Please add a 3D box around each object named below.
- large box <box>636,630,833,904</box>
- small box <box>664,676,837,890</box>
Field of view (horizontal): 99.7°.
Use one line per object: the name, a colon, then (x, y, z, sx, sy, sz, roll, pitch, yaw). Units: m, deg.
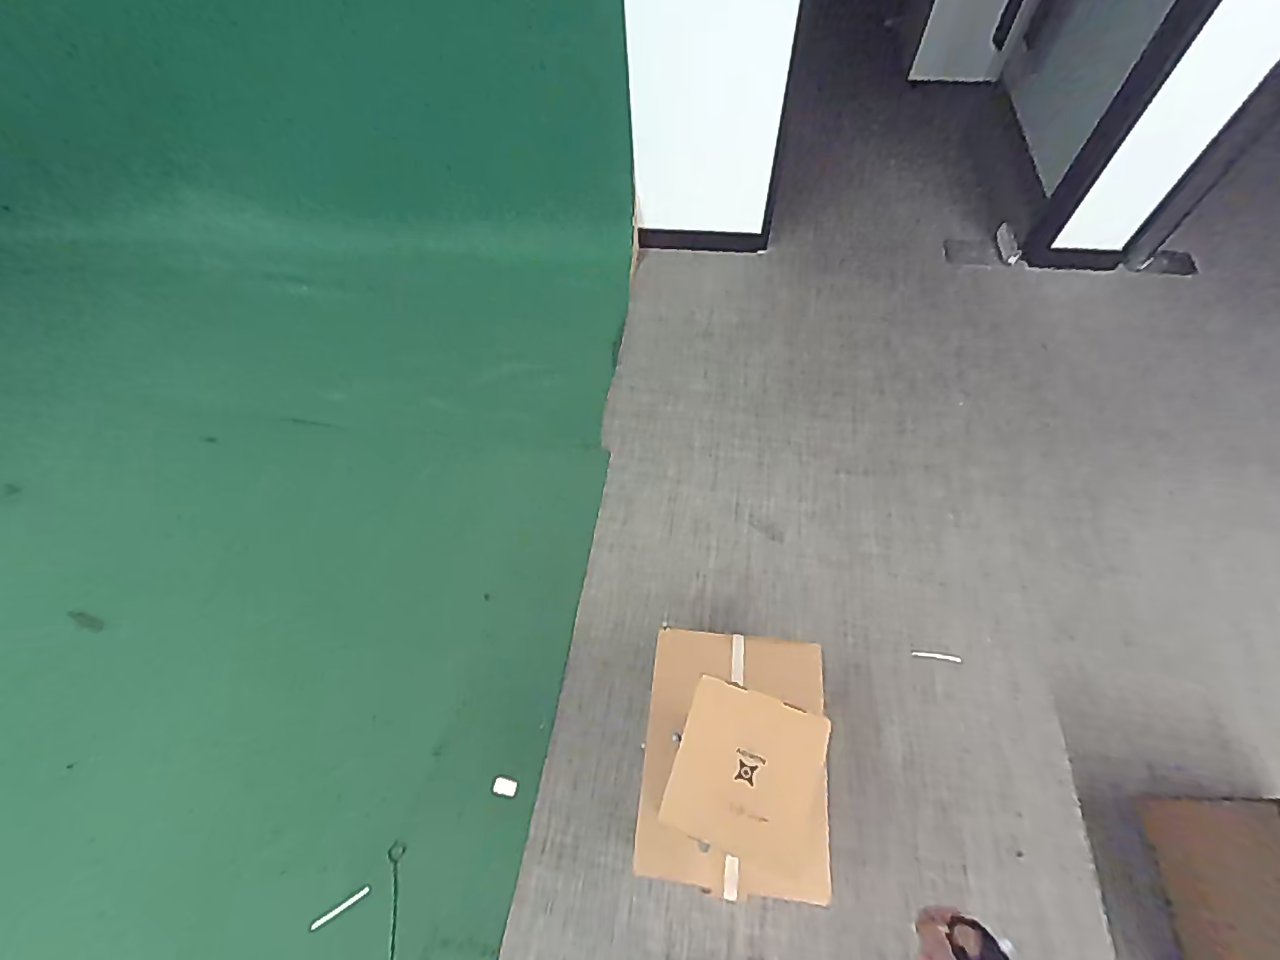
large box: (0.176, 0.551, 1.068, 0.320, 0.320, 0.408, 5, 59, 6)
small box: (0.136, 0.381, 0.699, 0.168, 0.176, 0.179, 17, 63, 14)
